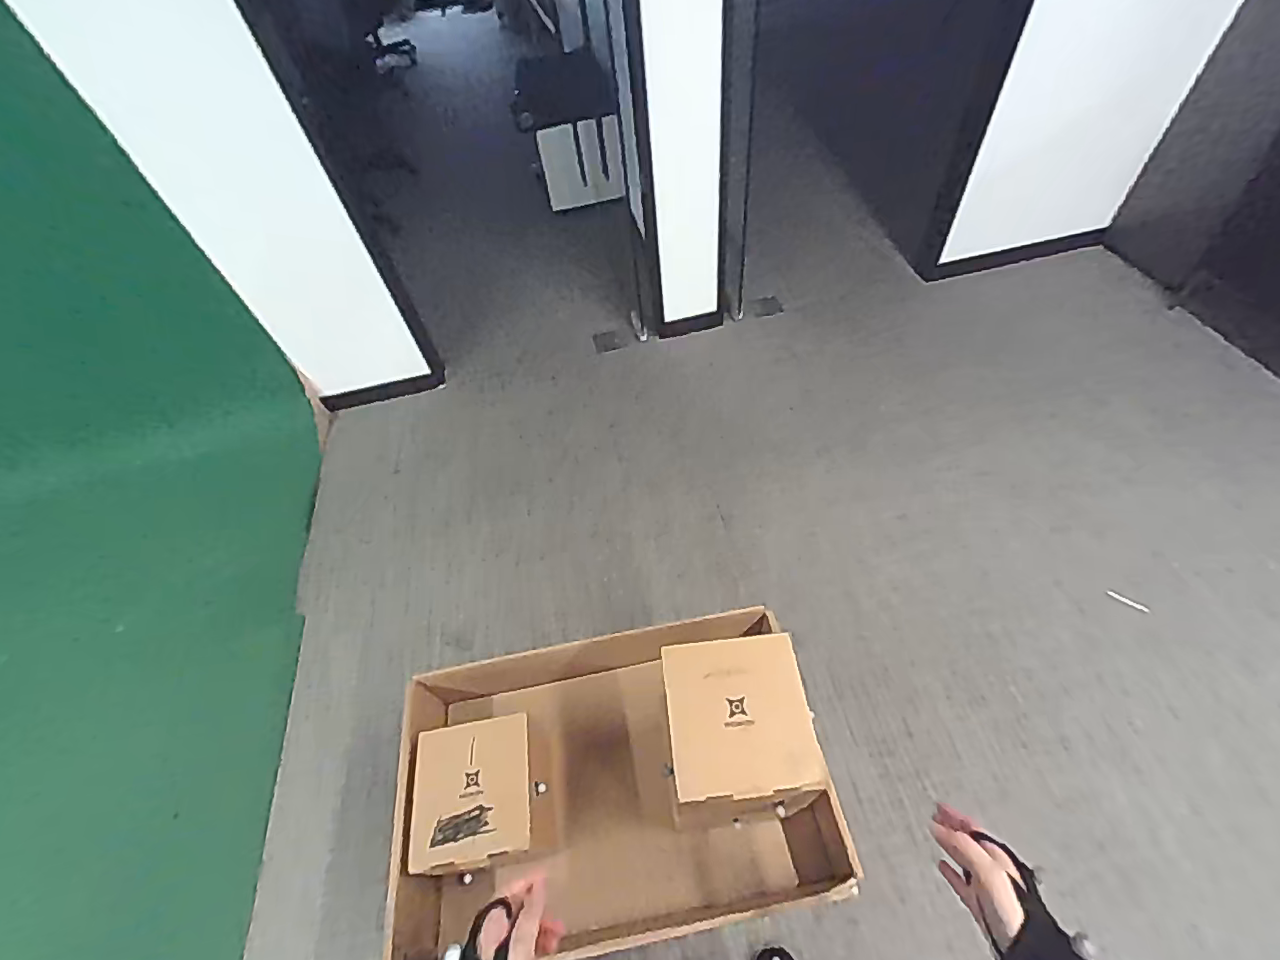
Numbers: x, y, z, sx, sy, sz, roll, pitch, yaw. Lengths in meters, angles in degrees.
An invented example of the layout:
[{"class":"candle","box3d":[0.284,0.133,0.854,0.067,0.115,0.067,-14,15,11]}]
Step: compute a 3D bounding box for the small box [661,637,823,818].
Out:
[{"class":"small box","box3d":[0.120,0.322,0.693,0.168,0.176,0.179,-6,51,1]}]
